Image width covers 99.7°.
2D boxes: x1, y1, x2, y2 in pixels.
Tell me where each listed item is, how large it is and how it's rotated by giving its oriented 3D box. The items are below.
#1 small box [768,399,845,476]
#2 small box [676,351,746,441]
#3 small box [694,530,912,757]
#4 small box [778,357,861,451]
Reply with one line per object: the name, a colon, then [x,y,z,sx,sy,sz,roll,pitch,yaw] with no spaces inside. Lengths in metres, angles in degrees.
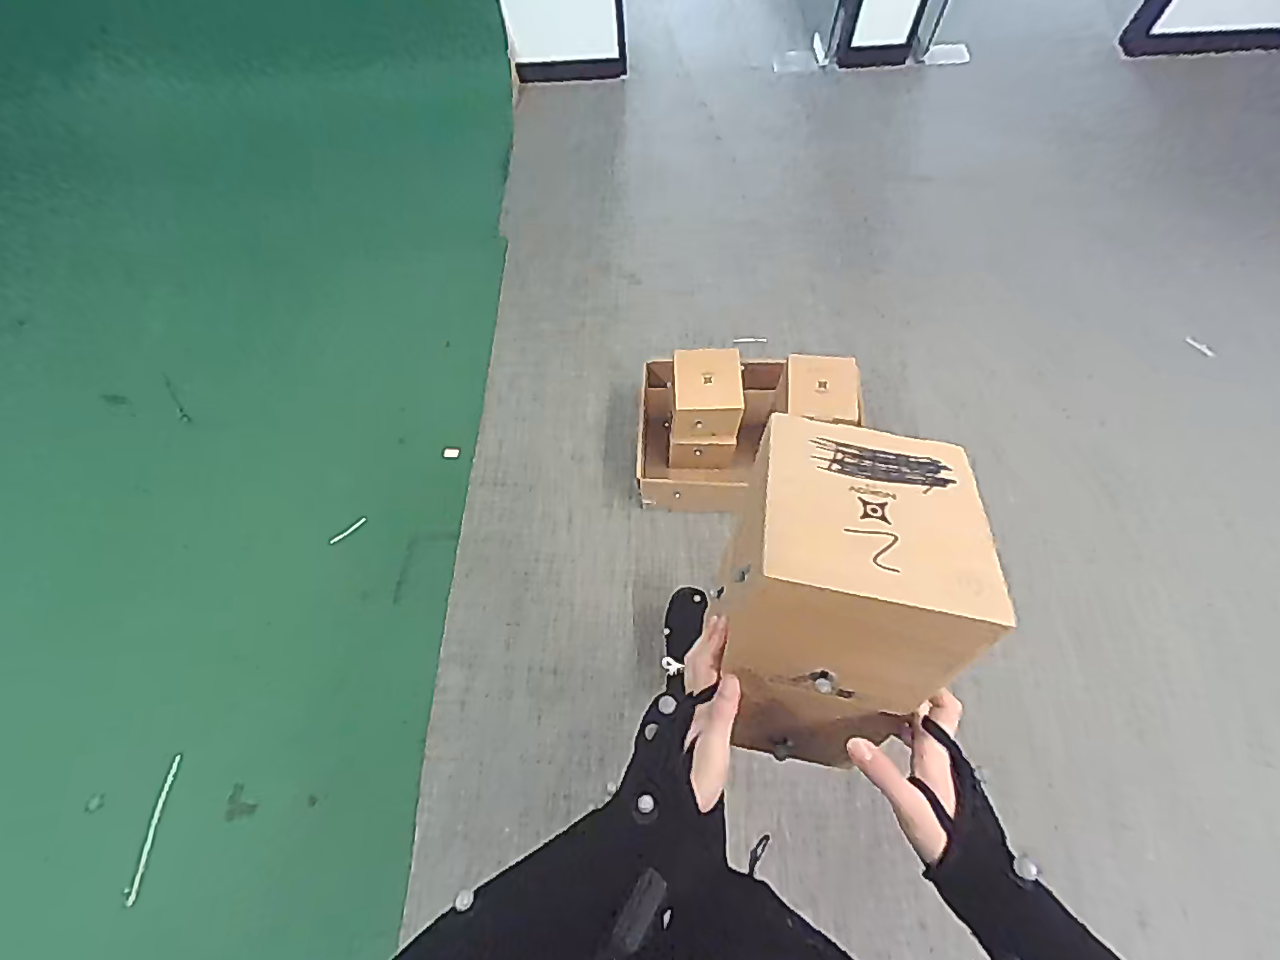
small box: [0.463,-0.120,1.513,0.179,0.176,0.168,5,67,7]
small box: [0.177,-0.209,1.393,0.168,0.176,0.179,-2,66,2]
small box: [0.164,0.183,0.593,0.179,0.176,0.168,10,46,4]
small box: [0.449,-0.186,1.365,0.168,0.176,0.179,5,67,5]
